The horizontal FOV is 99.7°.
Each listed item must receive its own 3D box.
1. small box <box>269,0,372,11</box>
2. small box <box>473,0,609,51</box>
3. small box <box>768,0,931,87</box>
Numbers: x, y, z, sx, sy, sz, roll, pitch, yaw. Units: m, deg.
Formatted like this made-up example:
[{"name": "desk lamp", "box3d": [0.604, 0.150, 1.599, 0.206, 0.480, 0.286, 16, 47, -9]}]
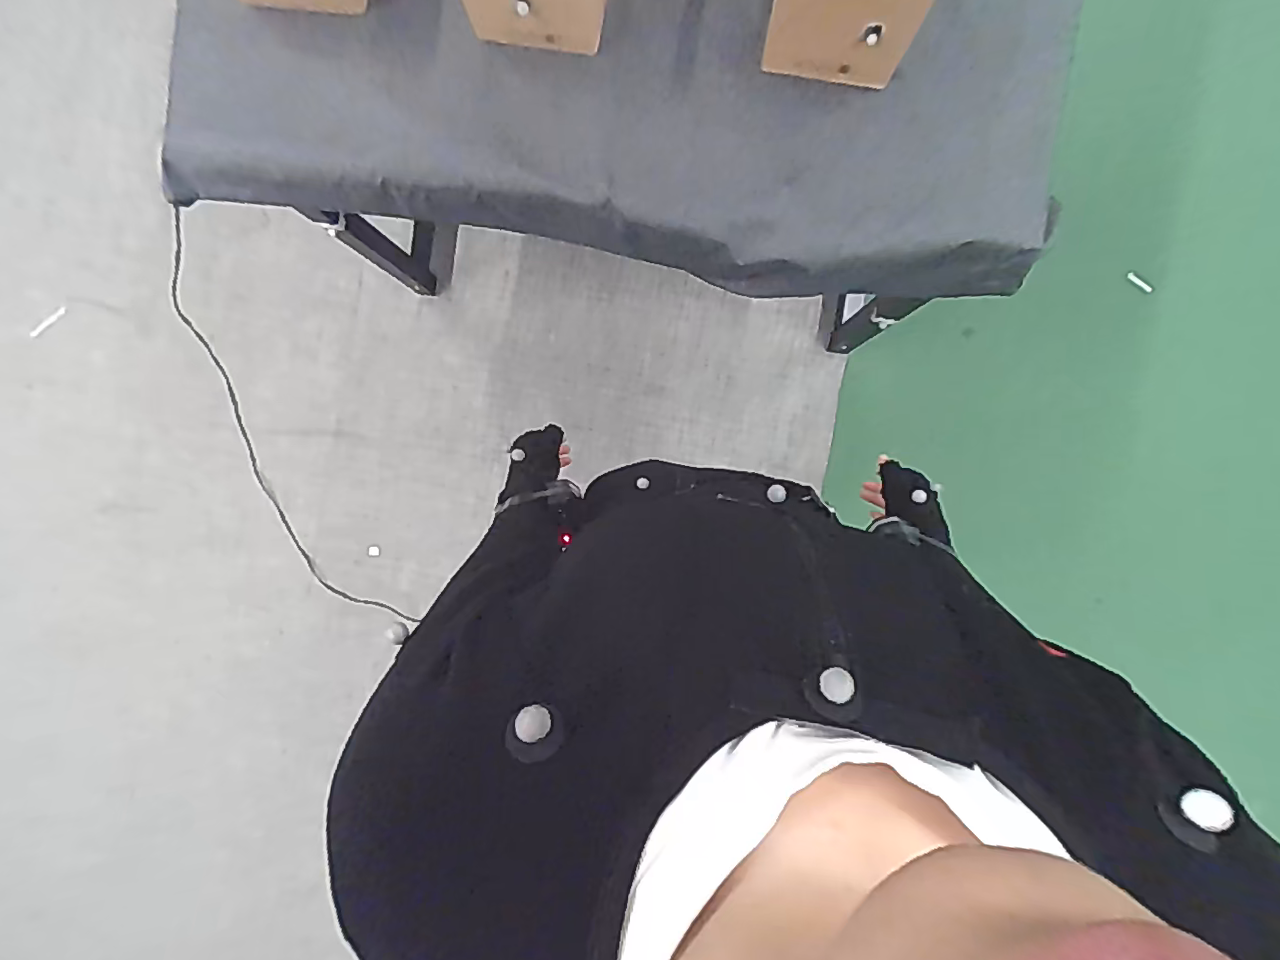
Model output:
[{"name": "small box", "box3d": [-0.448, -0.728, 0.663, 0.179, 0.176, 0.168, 7, 92, 1]}, {"name": "small box", "box3d": [-0.122, -0.668, 0.651, 0.168, 0.176, 0.179, 10, 92, 2]}, {"name": "small box", "box3d": [0.256, -0.611, 0.635, 0.168, 0.176, 0.179, 11, 91, 2]}]
